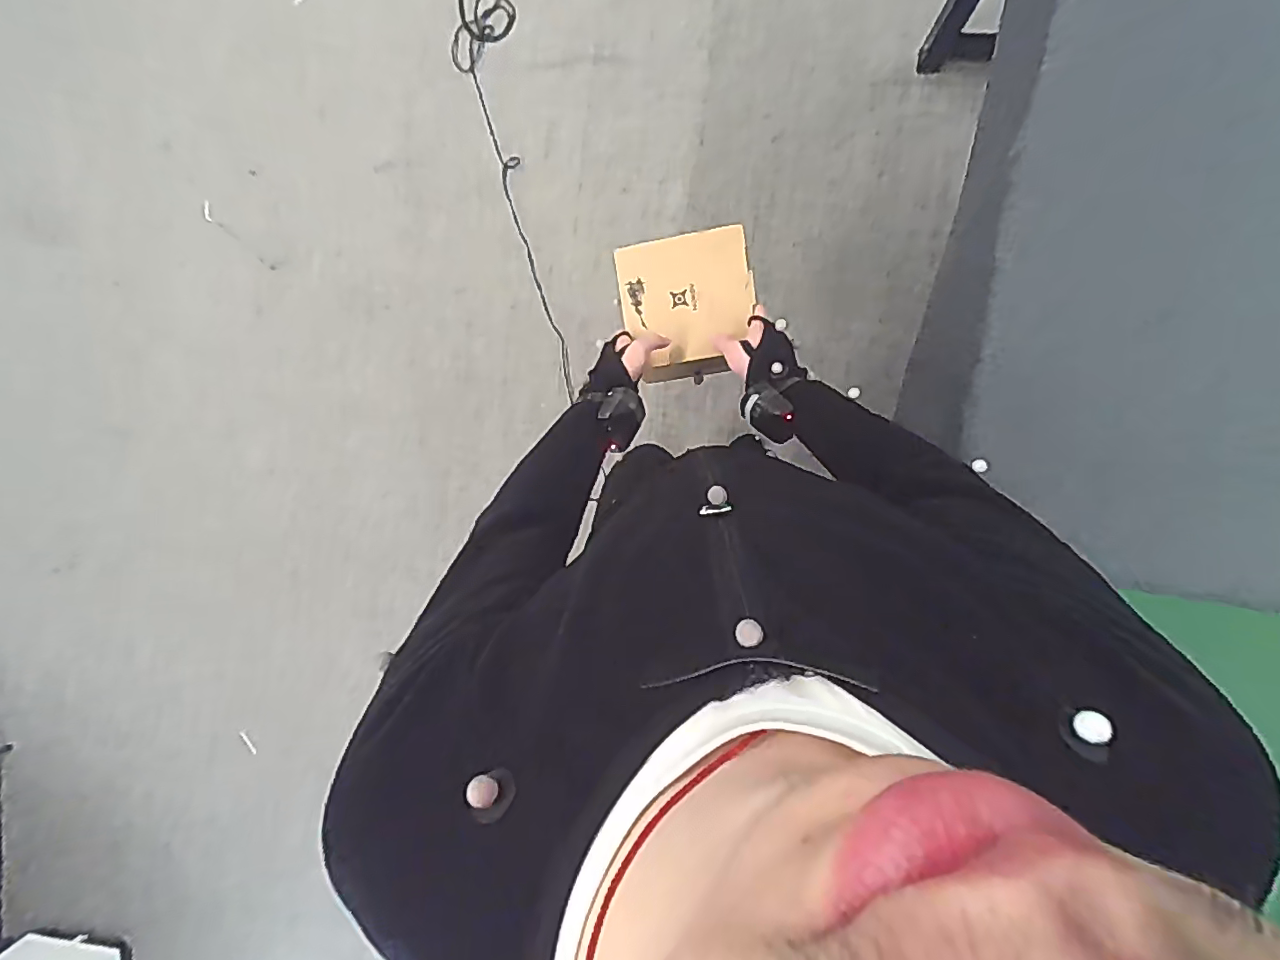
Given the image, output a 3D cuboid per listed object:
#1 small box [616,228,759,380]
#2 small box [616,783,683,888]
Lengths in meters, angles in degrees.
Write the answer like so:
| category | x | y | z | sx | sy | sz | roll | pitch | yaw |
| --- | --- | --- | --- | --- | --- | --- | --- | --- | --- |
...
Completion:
| category | x | y | z | sx | sy | sz | roll | pitch | yaw |
| --- | --- | --- | --- | --- | --- | --- | --- | --- | --- |
| small box | 0.071 | -0.246 | 0.797 | 0.179 | 0.176 | 0.168 | -7 | 93 | 8 |
| small box | 0.033 | 1.044 | 1.598 | 0.168 | 0.176 | 0.179 | 10 | 97 | 4 |
